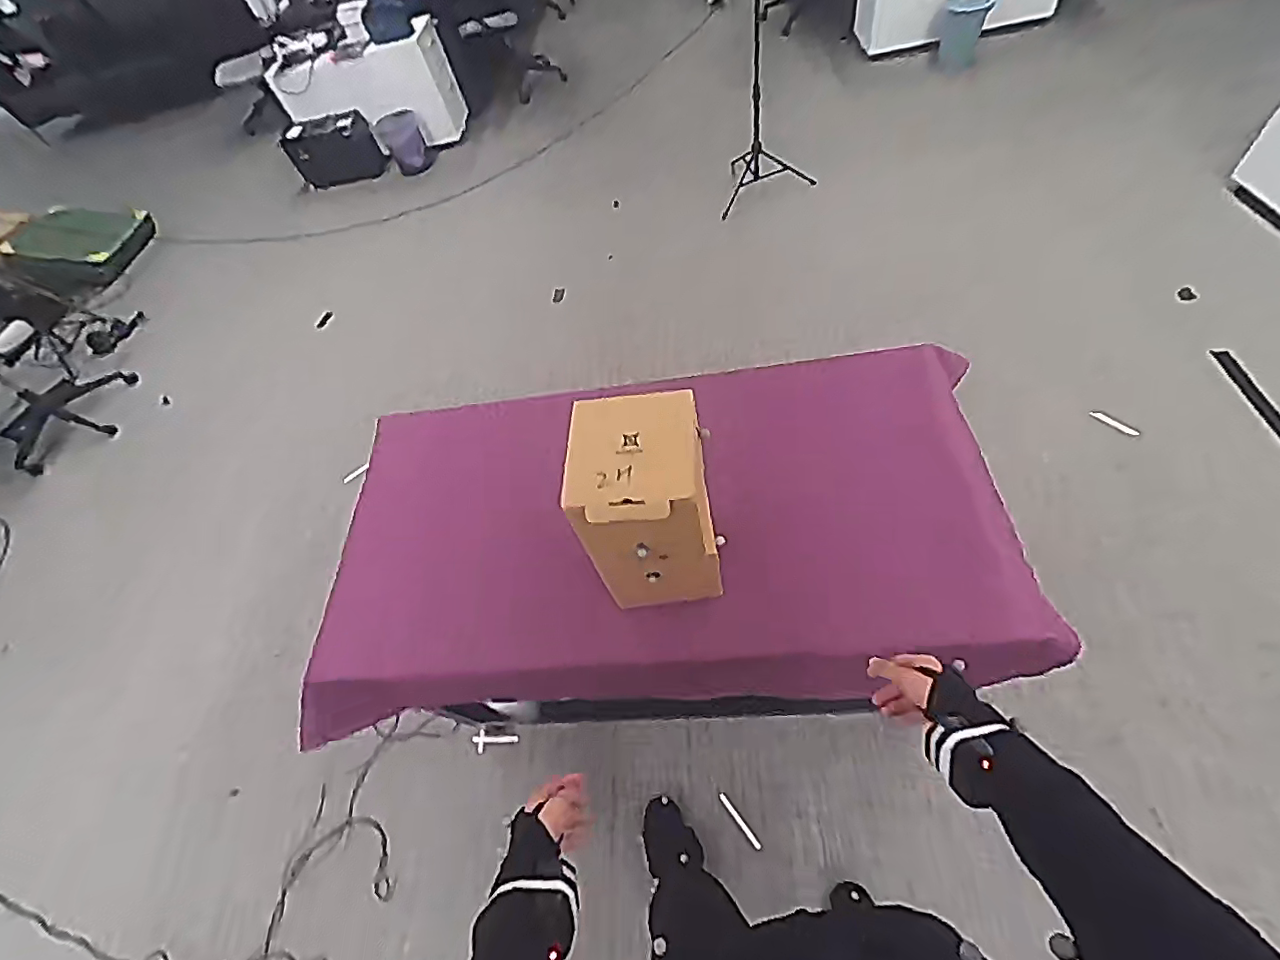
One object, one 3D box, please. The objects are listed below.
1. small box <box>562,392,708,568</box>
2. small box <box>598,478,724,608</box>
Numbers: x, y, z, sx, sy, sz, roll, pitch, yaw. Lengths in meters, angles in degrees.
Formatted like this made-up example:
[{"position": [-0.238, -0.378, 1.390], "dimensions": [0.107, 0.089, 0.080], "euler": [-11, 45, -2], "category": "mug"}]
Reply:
[{"position": [0.003, 0.005, 0.746], "dimensions": [0.168, 0.176, 0.179], "euler": [-5, 56, 10], "category": "small box"}, {"position": [0.034, 0.097, 0.878], "dimensions": [0.179, 0.176, 0.168], "euler": [-9, 56, 6], "category": "small box"}]
